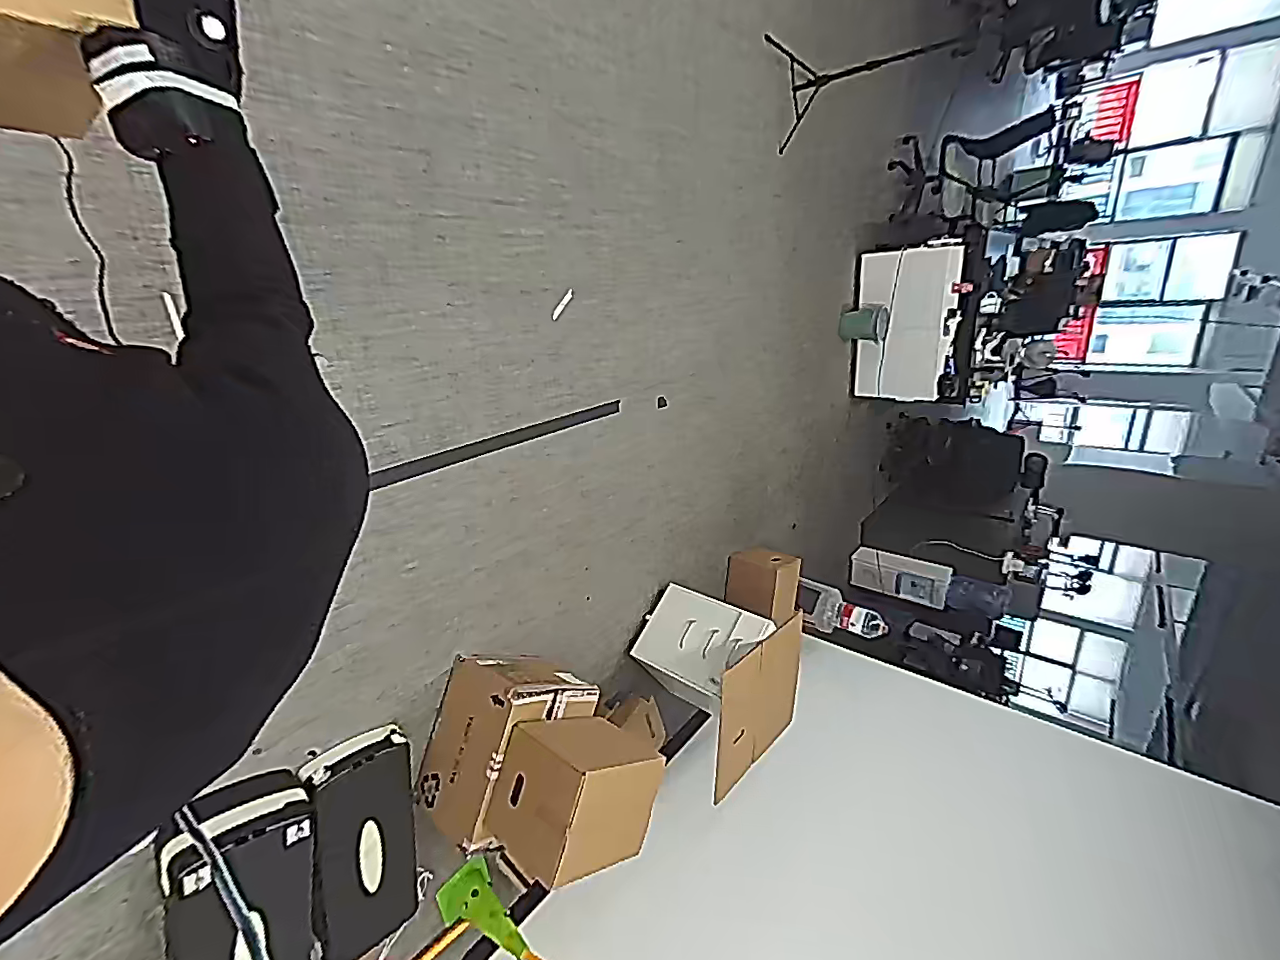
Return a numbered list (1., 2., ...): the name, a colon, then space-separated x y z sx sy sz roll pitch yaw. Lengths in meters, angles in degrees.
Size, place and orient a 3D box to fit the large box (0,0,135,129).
1. large box: -0.599 -0.418 0.275 0.408 0.320 0.320 -24 120 -47
